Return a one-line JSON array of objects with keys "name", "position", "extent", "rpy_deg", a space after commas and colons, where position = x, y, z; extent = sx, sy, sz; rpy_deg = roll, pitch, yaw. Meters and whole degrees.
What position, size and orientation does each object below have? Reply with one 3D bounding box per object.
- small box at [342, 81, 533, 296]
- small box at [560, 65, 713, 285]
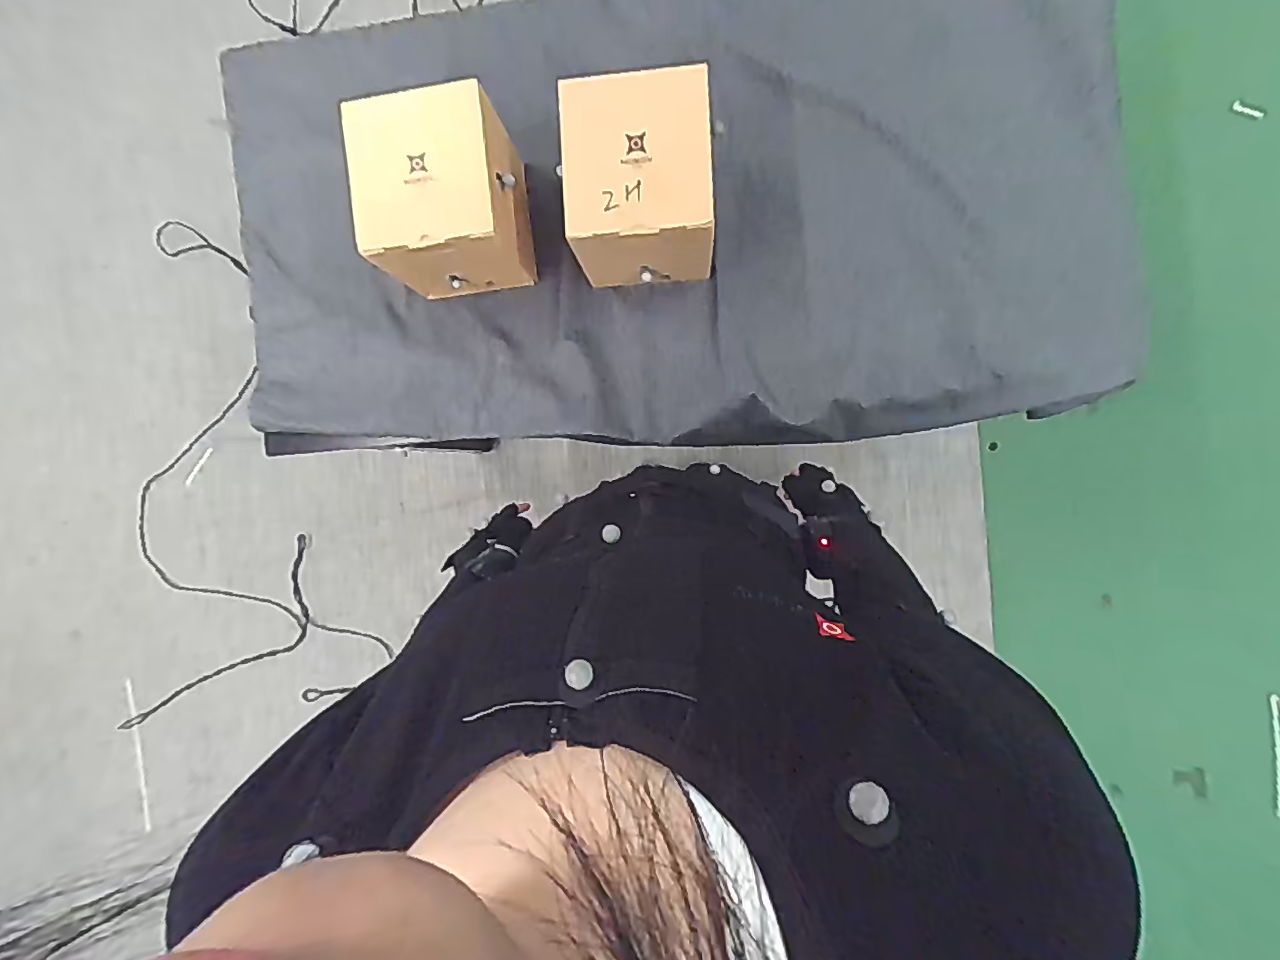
[{"name": "small box", "position": [-0.246, -0.356, 0.692], "extent": [0.168, 0.176, 0.179], "rpy_deg": [-6, 92, 5]}, {"name": "small box", "position": [0.001, -0.359, 0.668], "extent": [0.168, 0.176, 0.179], "rpy_deg": [-2, 92, 5]}]
